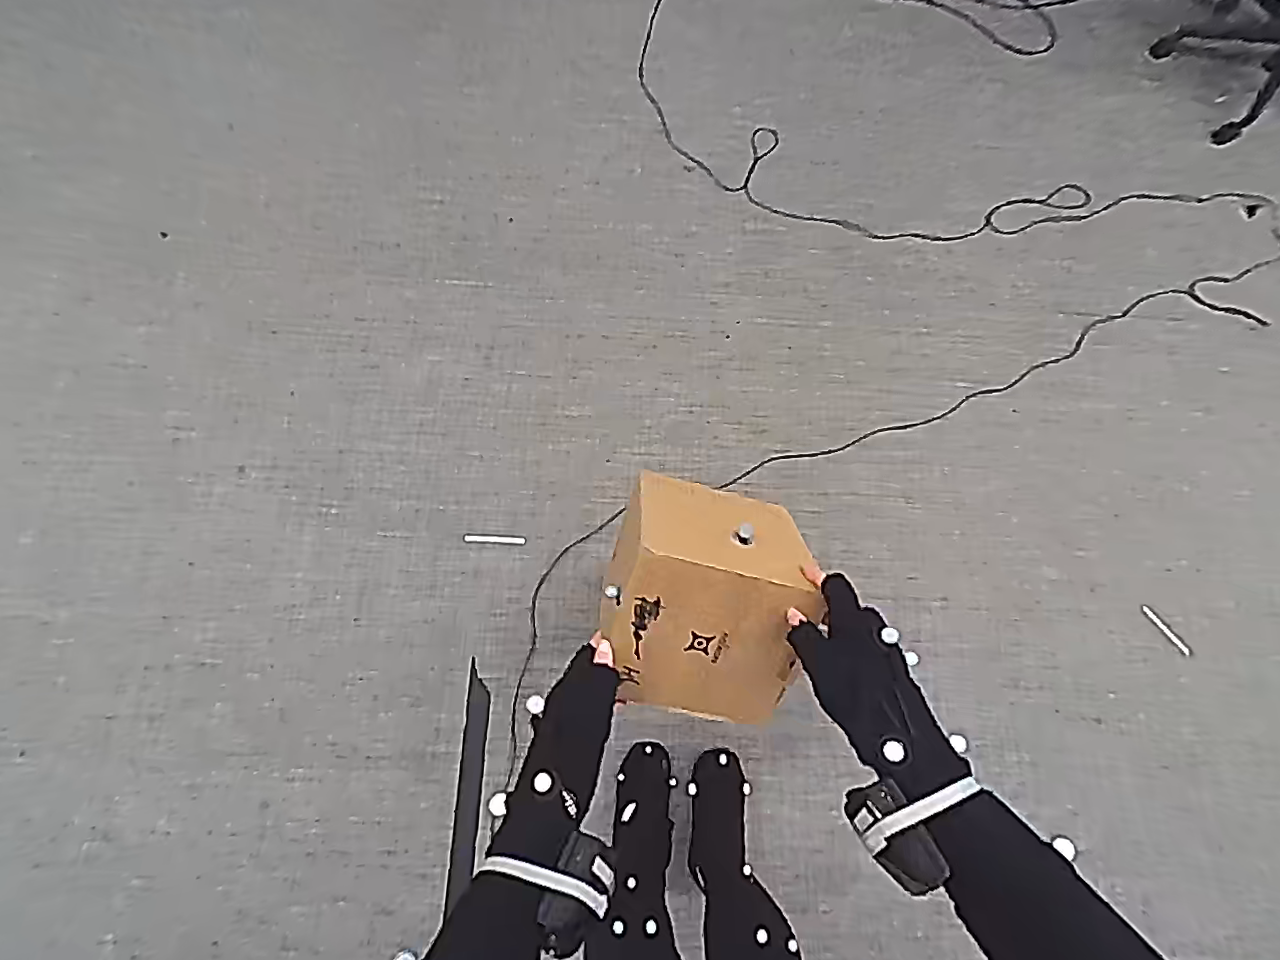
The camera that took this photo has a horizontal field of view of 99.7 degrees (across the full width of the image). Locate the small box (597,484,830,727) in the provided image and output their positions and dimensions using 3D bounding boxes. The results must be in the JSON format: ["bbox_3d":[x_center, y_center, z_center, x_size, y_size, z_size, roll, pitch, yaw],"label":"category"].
[{"bbox_3d":[0.063,0.121,0.569,0.179,0.176,0.168,15,112,-7],"label":"small box"}]
